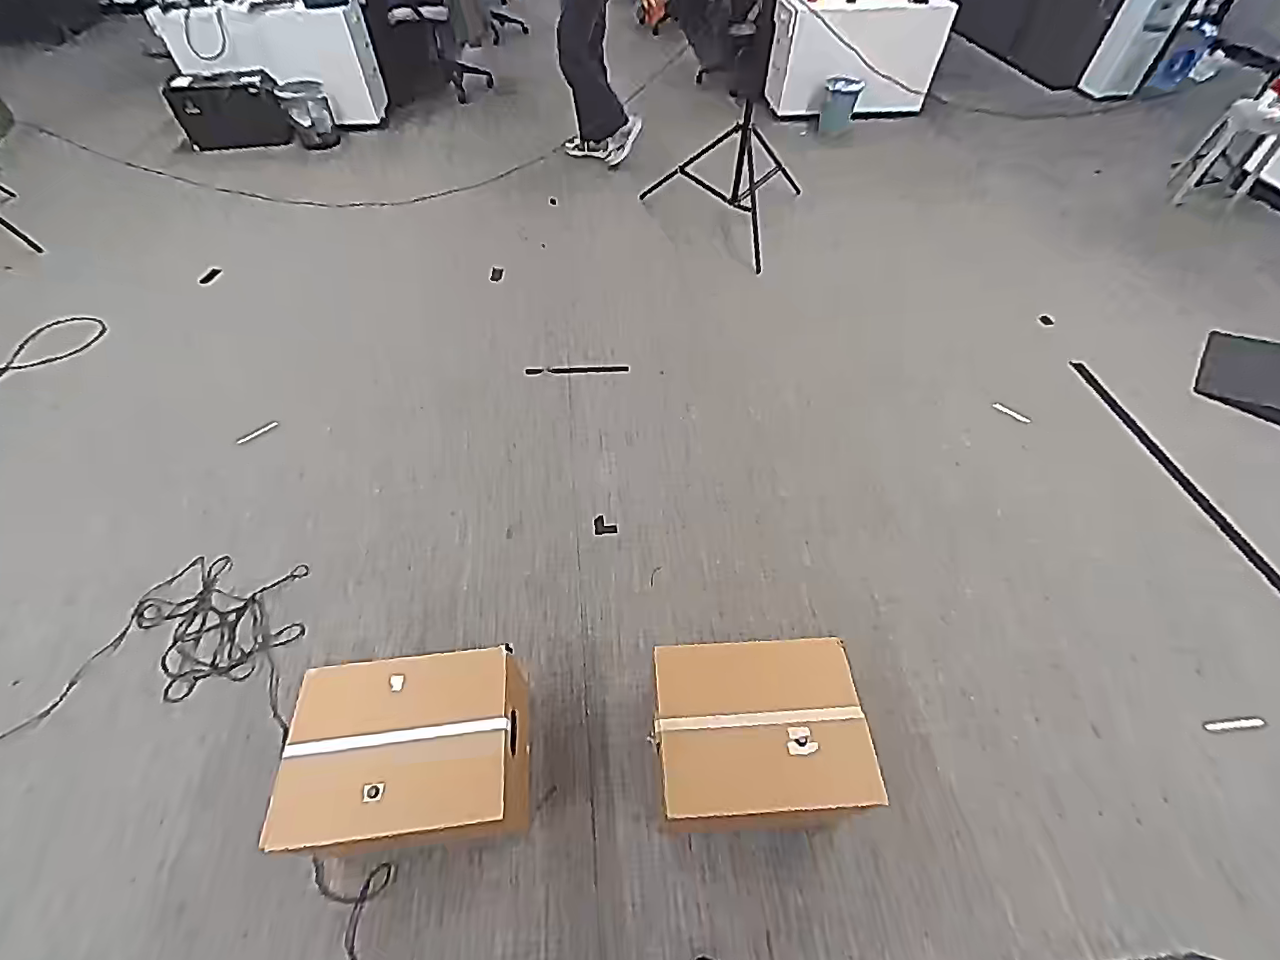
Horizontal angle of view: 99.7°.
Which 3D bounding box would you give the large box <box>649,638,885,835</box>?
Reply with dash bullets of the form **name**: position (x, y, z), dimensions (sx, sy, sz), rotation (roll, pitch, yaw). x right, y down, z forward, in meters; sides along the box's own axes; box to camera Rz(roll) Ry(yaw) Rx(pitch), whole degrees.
- **large box**: position (0.236, 0.561, 1.180), dimensions (0.408, 0.320, 0.320), rotation (-1, 52, -3)
